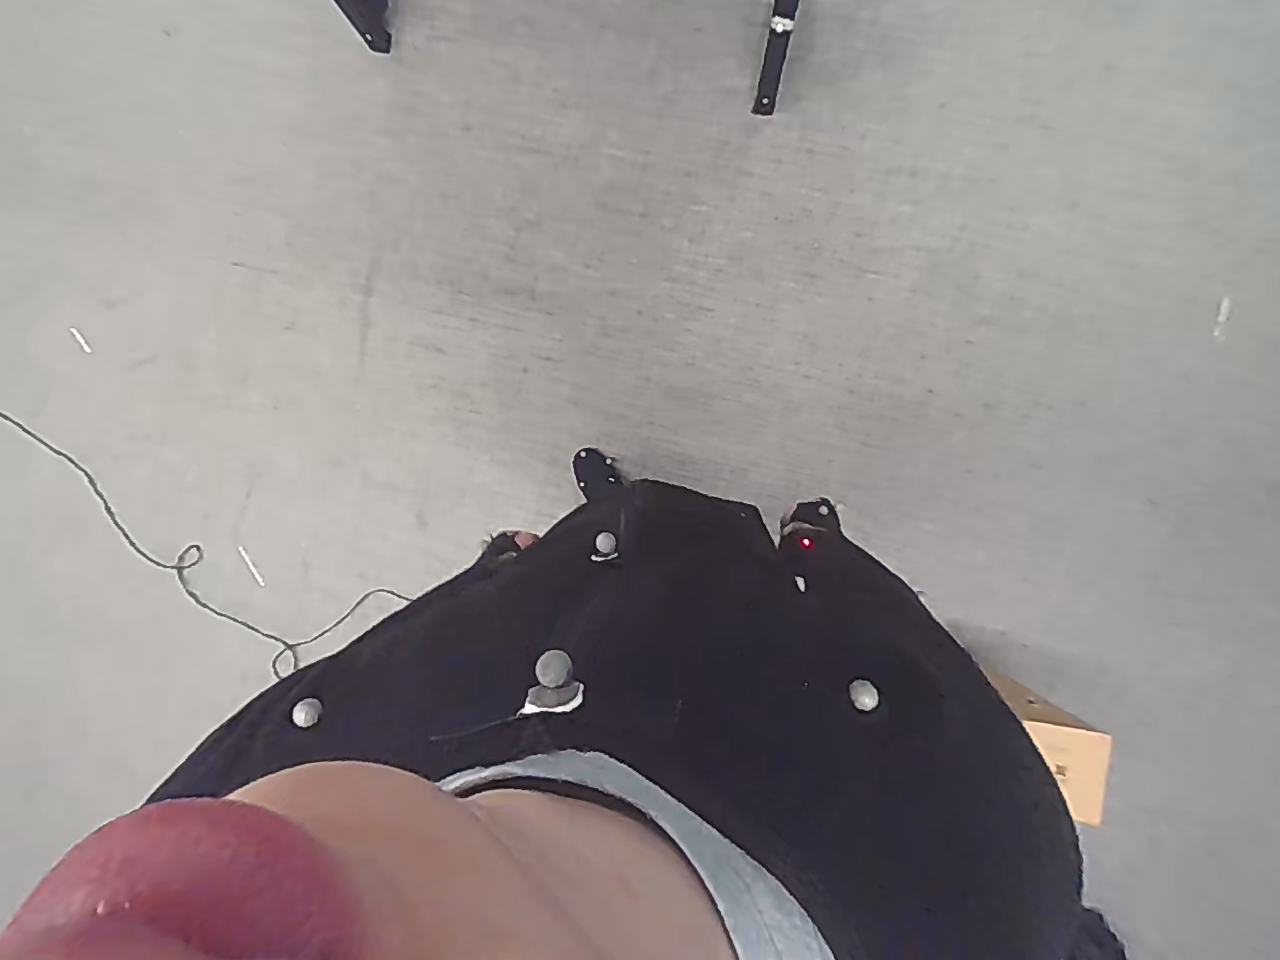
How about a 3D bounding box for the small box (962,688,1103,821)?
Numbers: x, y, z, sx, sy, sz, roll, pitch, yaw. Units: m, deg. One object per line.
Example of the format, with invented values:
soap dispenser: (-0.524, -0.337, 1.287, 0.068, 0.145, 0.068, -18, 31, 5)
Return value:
small box: (0.794, 0.554, 1.113, 0.168, 0.176, 0.179, 8, 88, 3)
